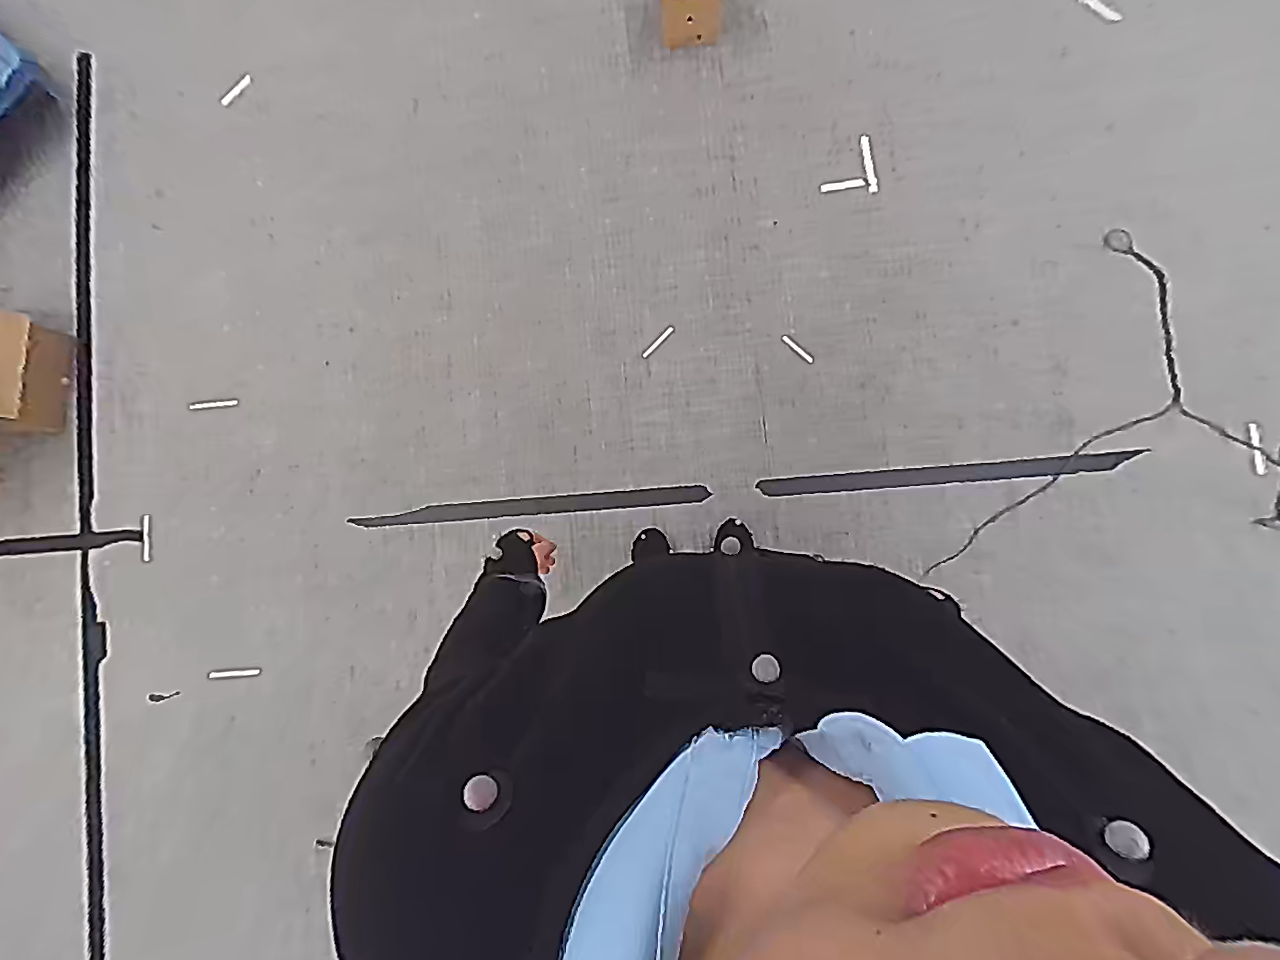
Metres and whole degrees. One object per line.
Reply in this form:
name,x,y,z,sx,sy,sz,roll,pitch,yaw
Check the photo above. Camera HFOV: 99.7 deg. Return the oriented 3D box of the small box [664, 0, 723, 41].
small box,0.151,-1.403,1.550,0.168,0.176,0.179,-2,85,3
